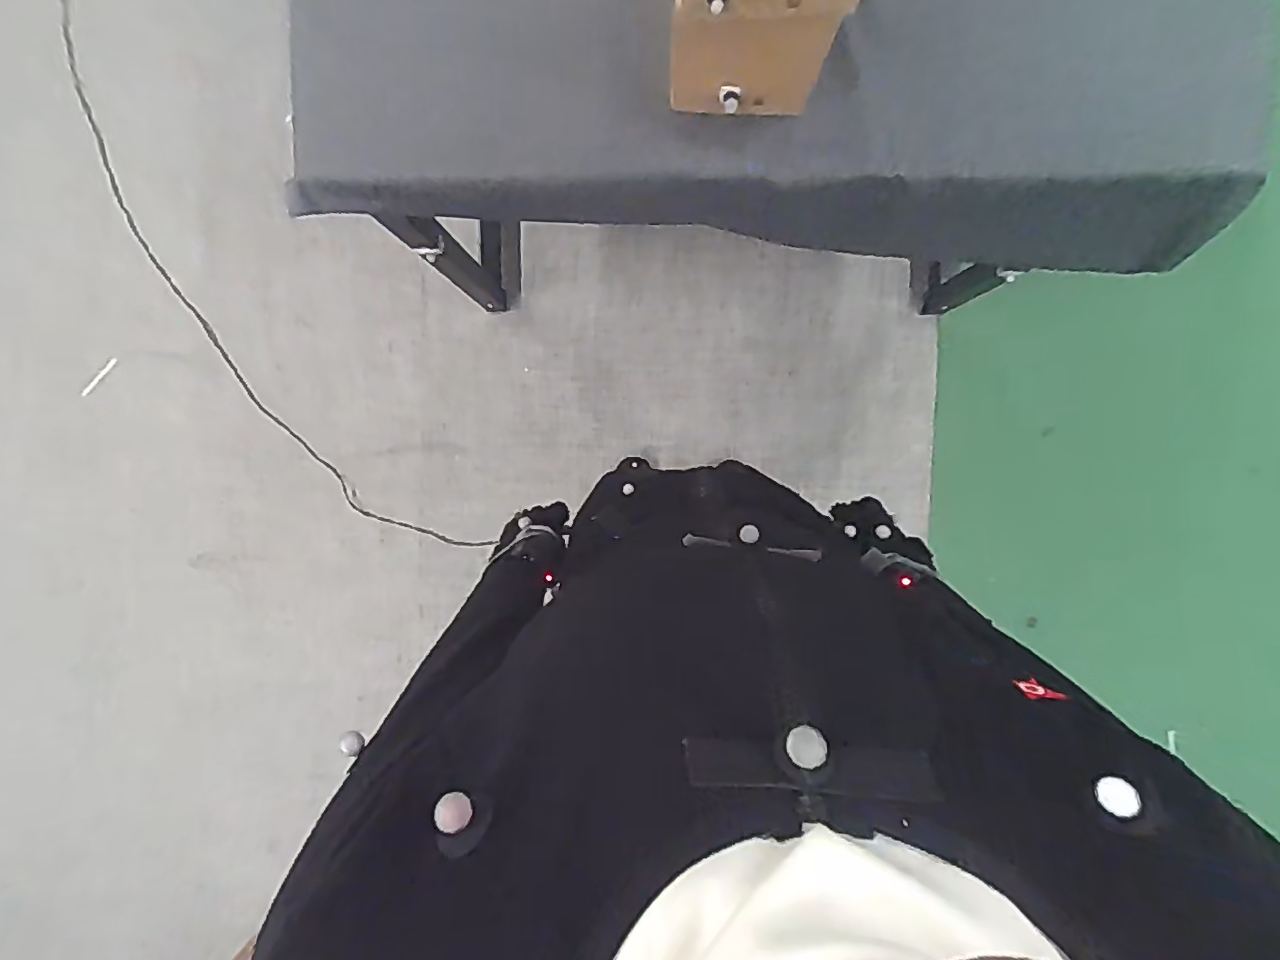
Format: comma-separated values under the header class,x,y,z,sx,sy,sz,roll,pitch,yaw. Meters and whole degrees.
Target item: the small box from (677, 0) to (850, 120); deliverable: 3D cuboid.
class,x,y,z,sx,sy,sz,roll,pitch,yaw
small box,0.127,-0.540,0.599,0.168,0.176,0.179,2,93,4
